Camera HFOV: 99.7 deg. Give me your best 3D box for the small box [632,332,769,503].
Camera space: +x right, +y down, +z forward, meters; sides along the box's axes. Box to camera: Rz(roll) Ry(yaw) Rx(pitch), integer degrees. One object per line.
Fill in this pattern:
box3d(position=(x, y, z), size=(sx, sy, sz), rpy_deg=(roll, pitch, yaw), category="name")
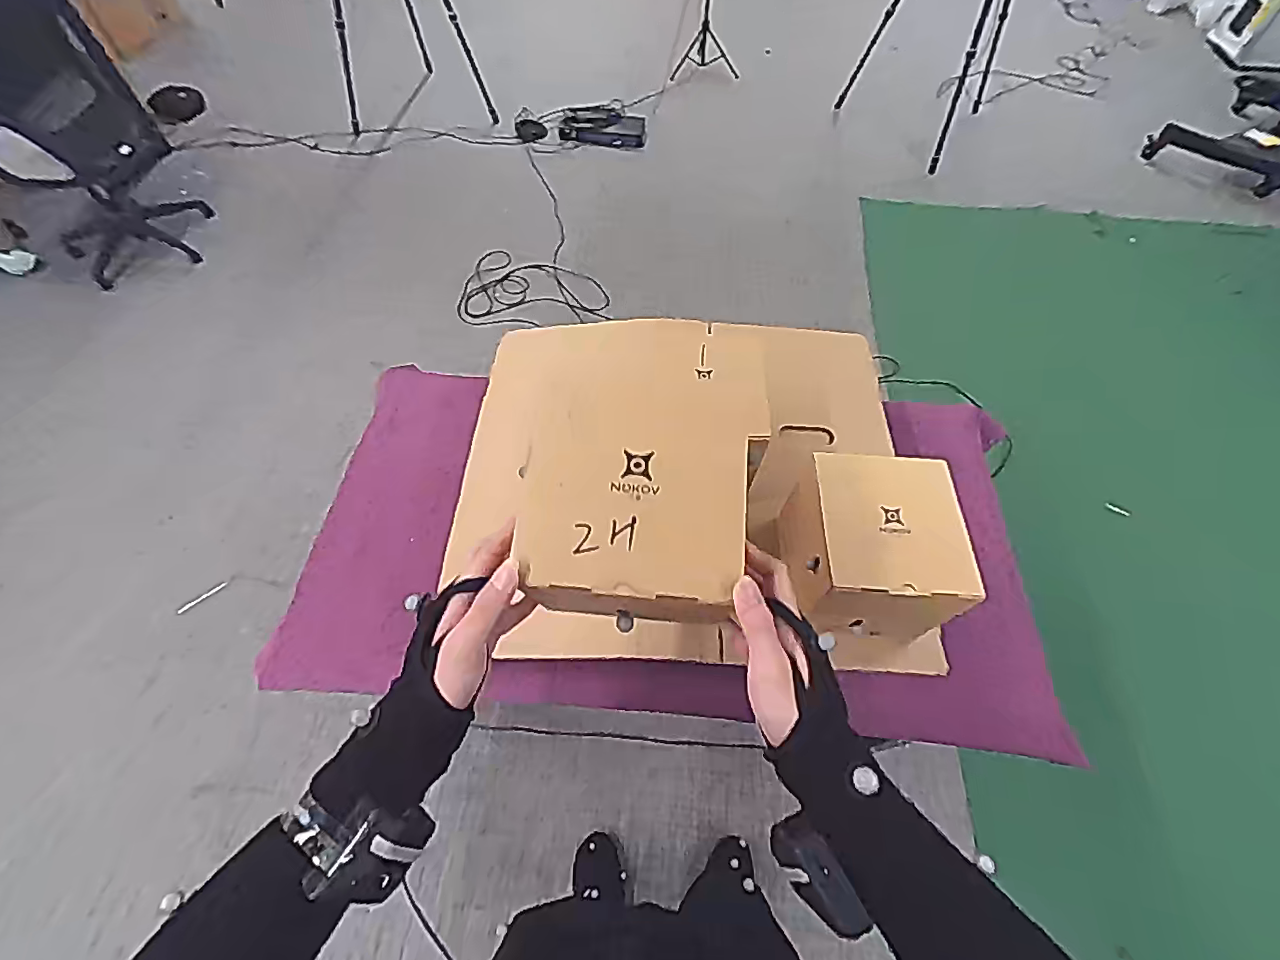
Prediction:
box3d(position=(0.077, -0.082, 0.762), size=(0.168, 0.176, 0.179), rpy_deg=(4, 58, -2), category="small box")
